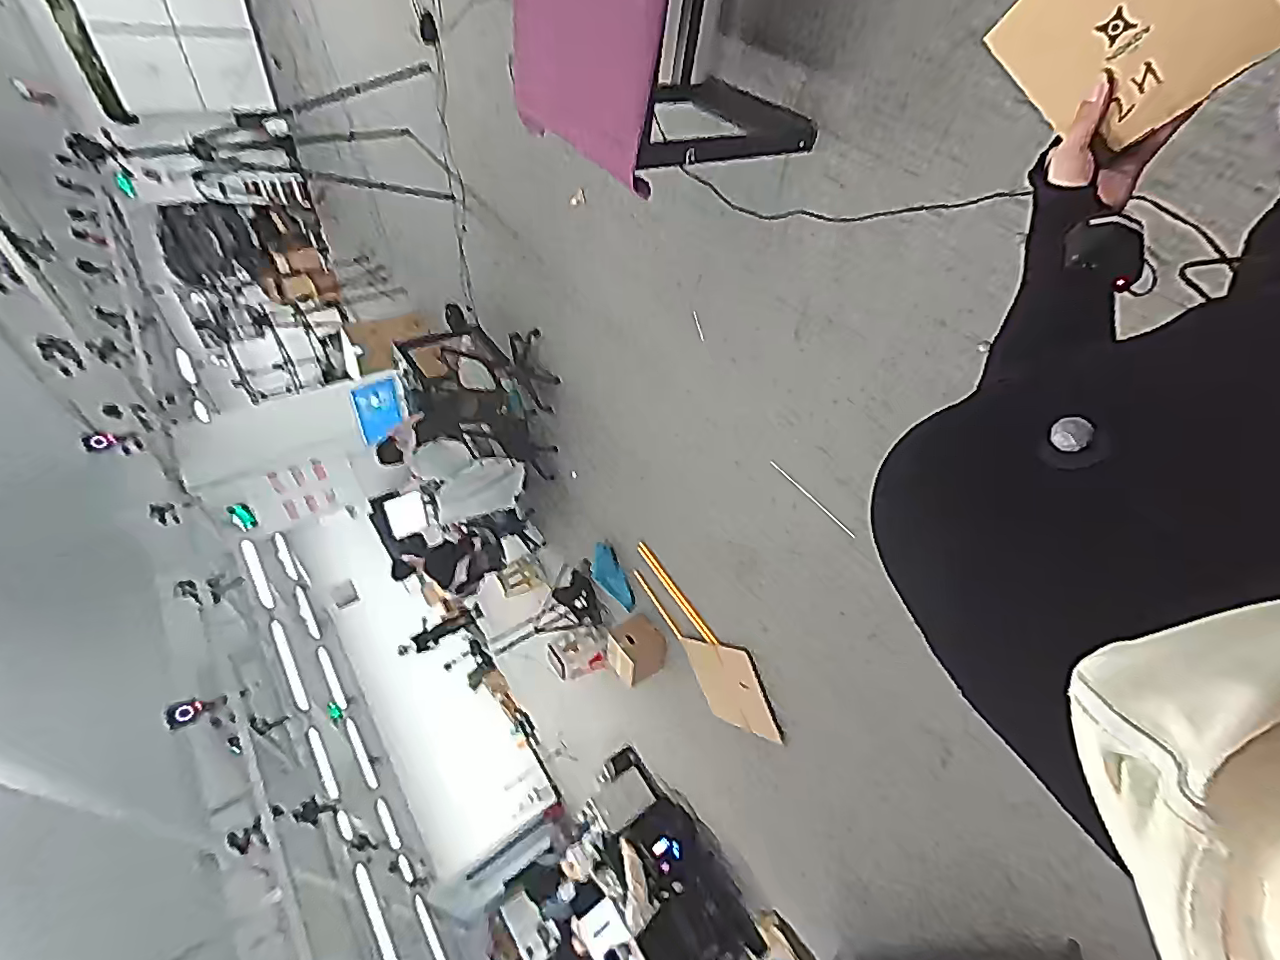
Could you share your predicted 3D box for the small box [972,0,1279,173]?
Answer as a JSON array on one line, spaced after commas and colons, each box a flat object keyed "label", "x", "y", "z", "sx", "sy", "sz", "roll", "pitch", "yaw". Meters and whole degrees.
[{"label": "small box", "x": 0.461, "y": -0.436, "z": 0.486, "sx": 0.179, "sy": 0.176, "sz": 0.168, "roll": 47, "pitch": 170, "yaw": -4}]
